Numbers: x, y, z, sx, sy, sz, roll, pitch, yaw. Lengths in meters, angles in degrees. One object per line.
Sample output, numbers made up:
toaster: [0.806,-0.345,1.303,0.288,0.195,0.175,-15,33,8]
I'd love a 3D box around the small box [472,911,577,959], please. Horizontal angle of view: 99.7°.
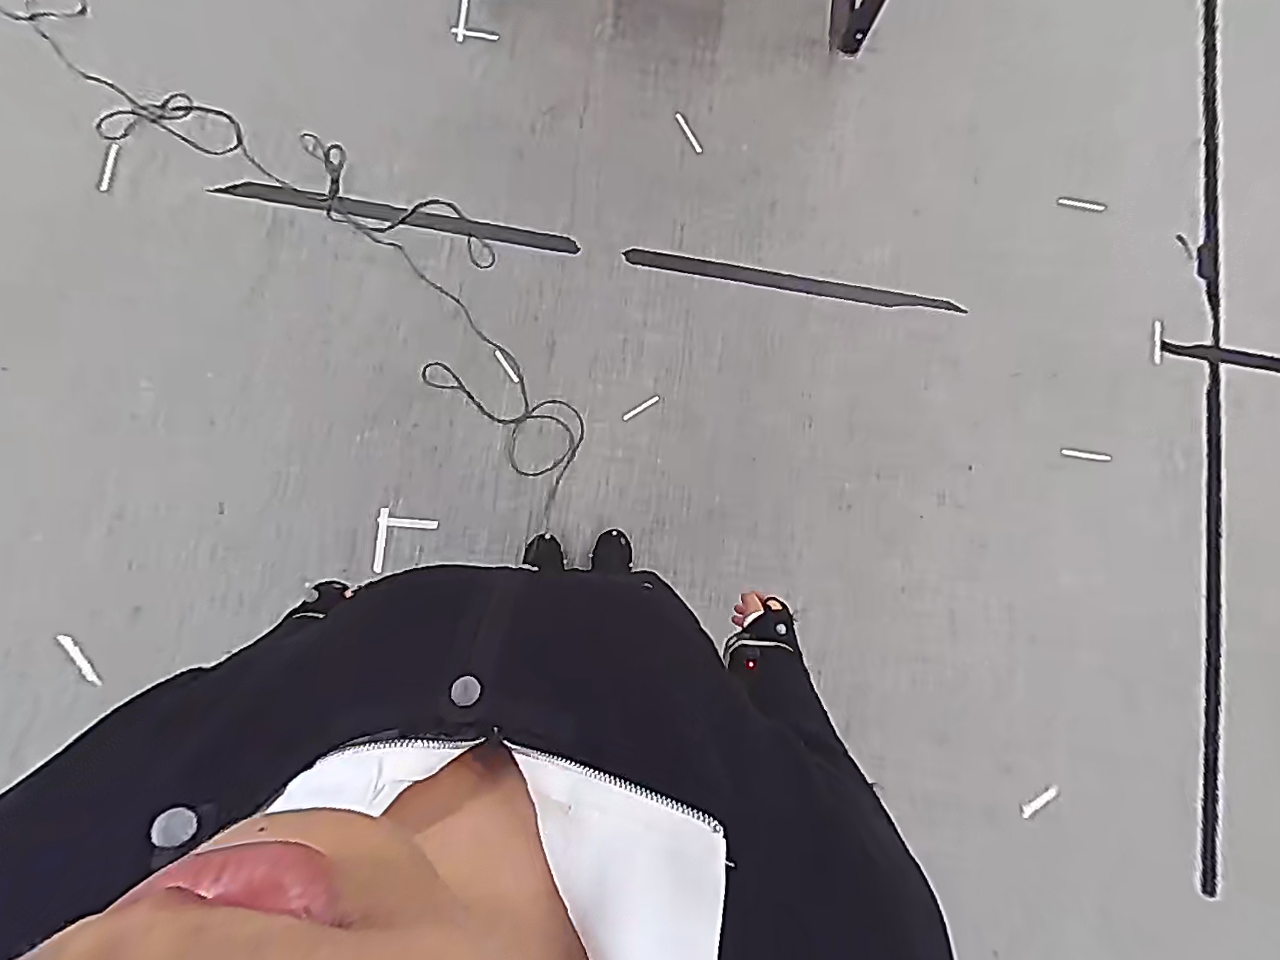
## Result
small box: [-0.190,0.838,0.858,0.168,0.176,0.179,6,81,-5]
